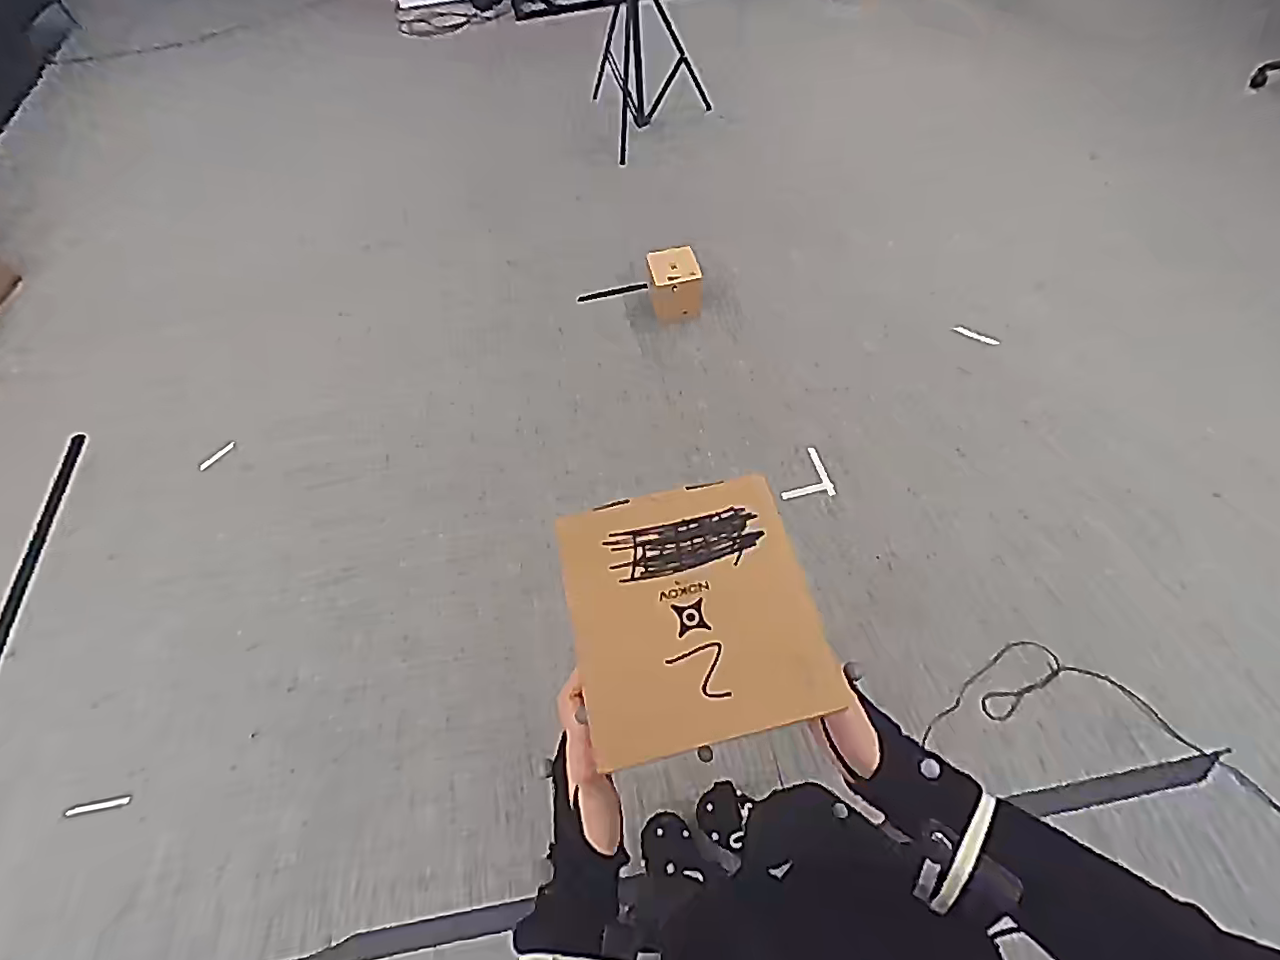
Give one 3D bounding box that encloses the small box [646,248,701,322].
[{"bbox_3d":[0.119,-0.705,1.960,0.168,0.176,0.179,-13,59,-3],"label":"small box"}]
